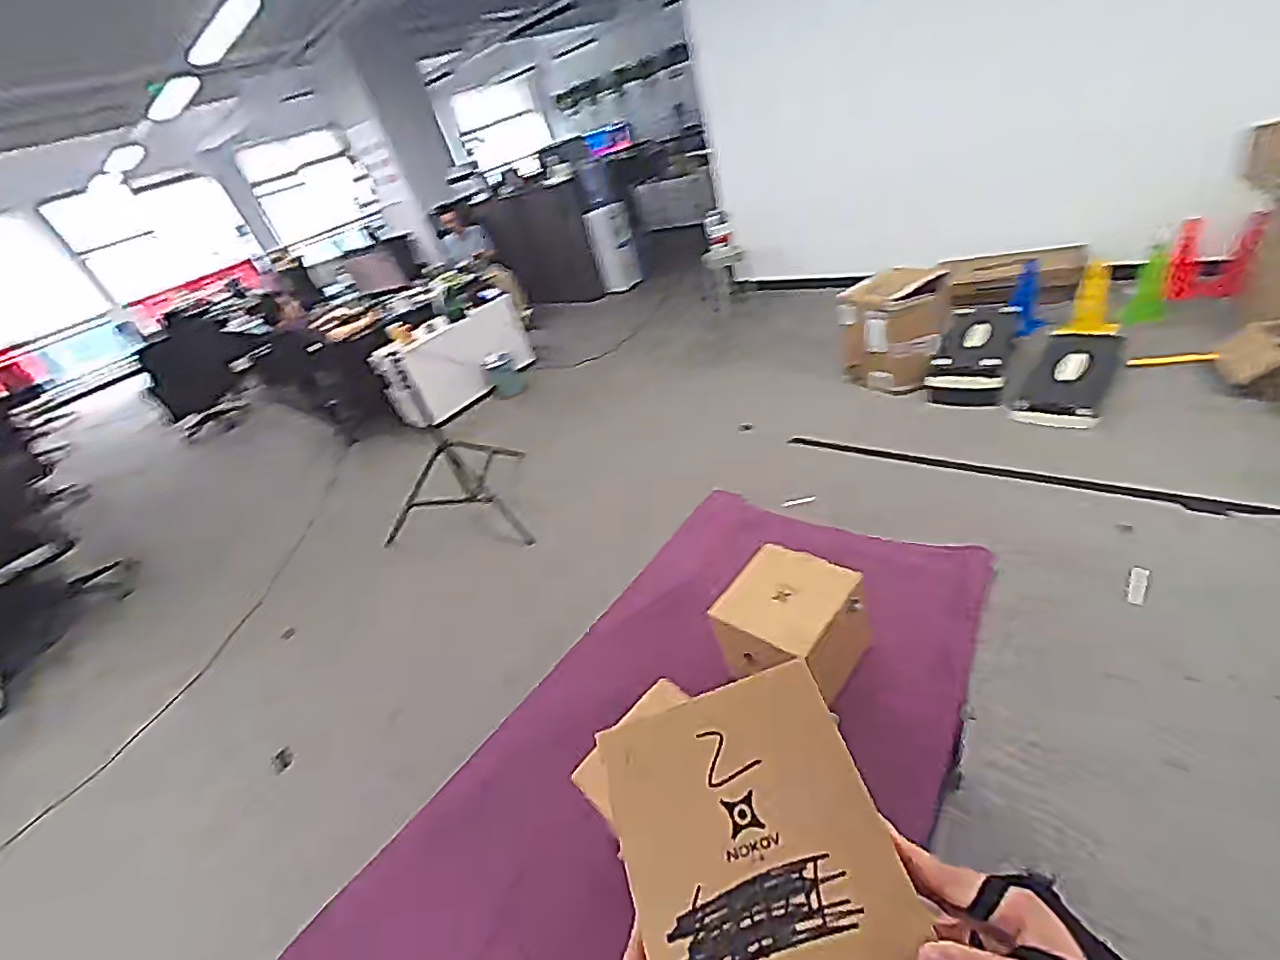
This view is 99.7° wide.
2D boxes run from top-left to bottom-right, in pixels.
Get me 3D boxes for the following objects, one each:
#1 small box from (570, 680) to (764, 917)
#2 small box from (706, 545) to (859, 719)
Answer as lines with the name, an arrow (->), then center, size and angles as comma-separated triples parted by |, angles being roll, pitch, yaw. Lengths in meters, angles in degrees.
small box -> 0.044, 0.411, 0.707 | 0.179, 0.176, 0.168 | -38, 39, -27
small box -> 0.235, 0.239, 0.861 | 0.168, 0.176, 0.179 | 16, 46, 43
